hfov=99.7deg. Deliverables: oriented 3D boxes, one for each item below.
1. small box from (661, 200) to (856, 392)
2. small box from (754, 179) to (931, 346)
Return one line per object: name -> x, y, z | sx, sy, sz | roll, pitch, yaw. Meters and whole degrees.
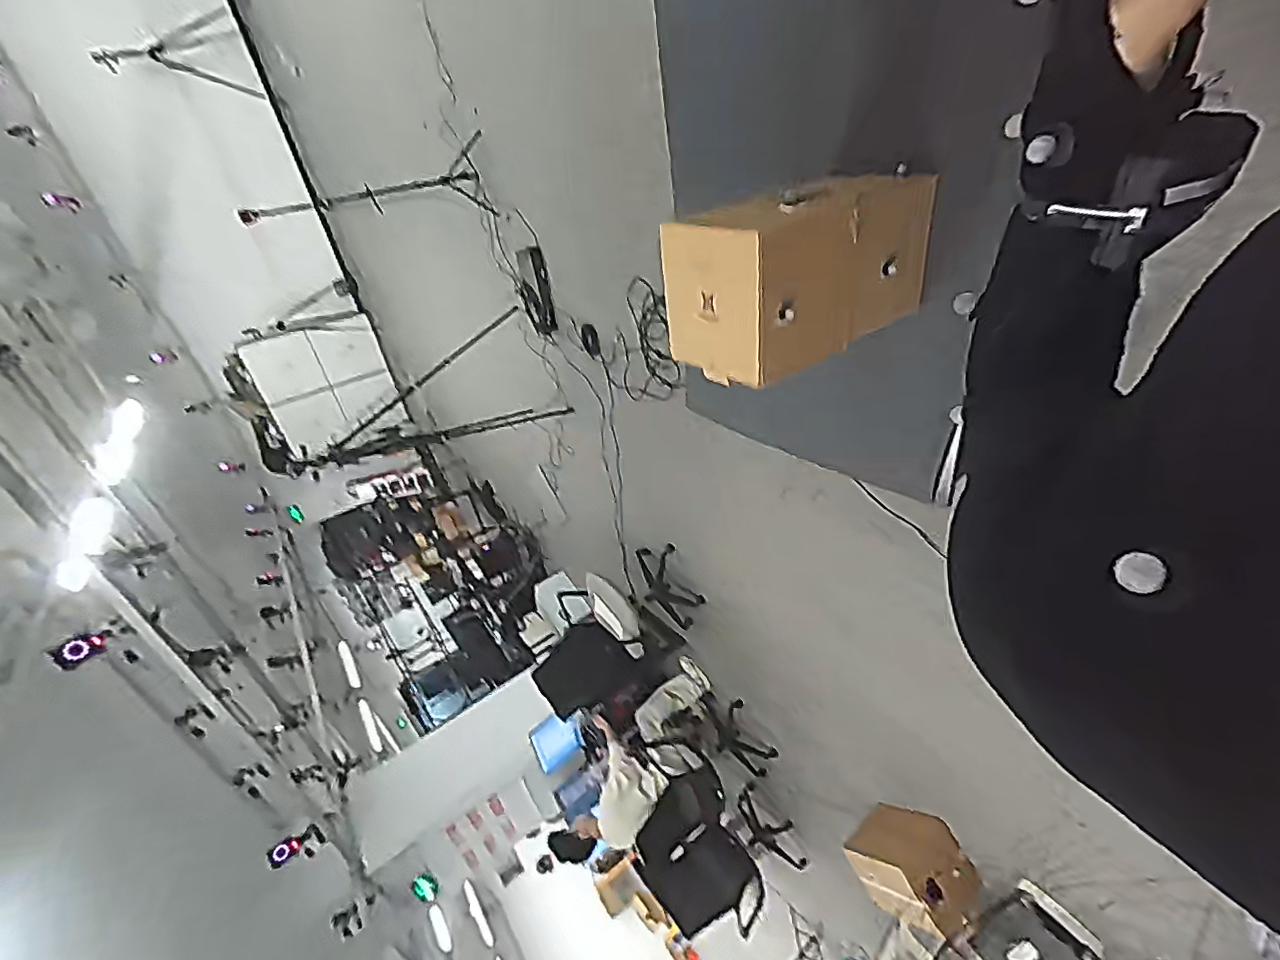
small box -> 0.148, -0.238, 0.680 | 0.168, 0.176, 0.179 | 32, 140, 45
small box -> 0.275, -0.310, 0.751 | 0.168, 0.176, 0.179 | 32, 142, 46
